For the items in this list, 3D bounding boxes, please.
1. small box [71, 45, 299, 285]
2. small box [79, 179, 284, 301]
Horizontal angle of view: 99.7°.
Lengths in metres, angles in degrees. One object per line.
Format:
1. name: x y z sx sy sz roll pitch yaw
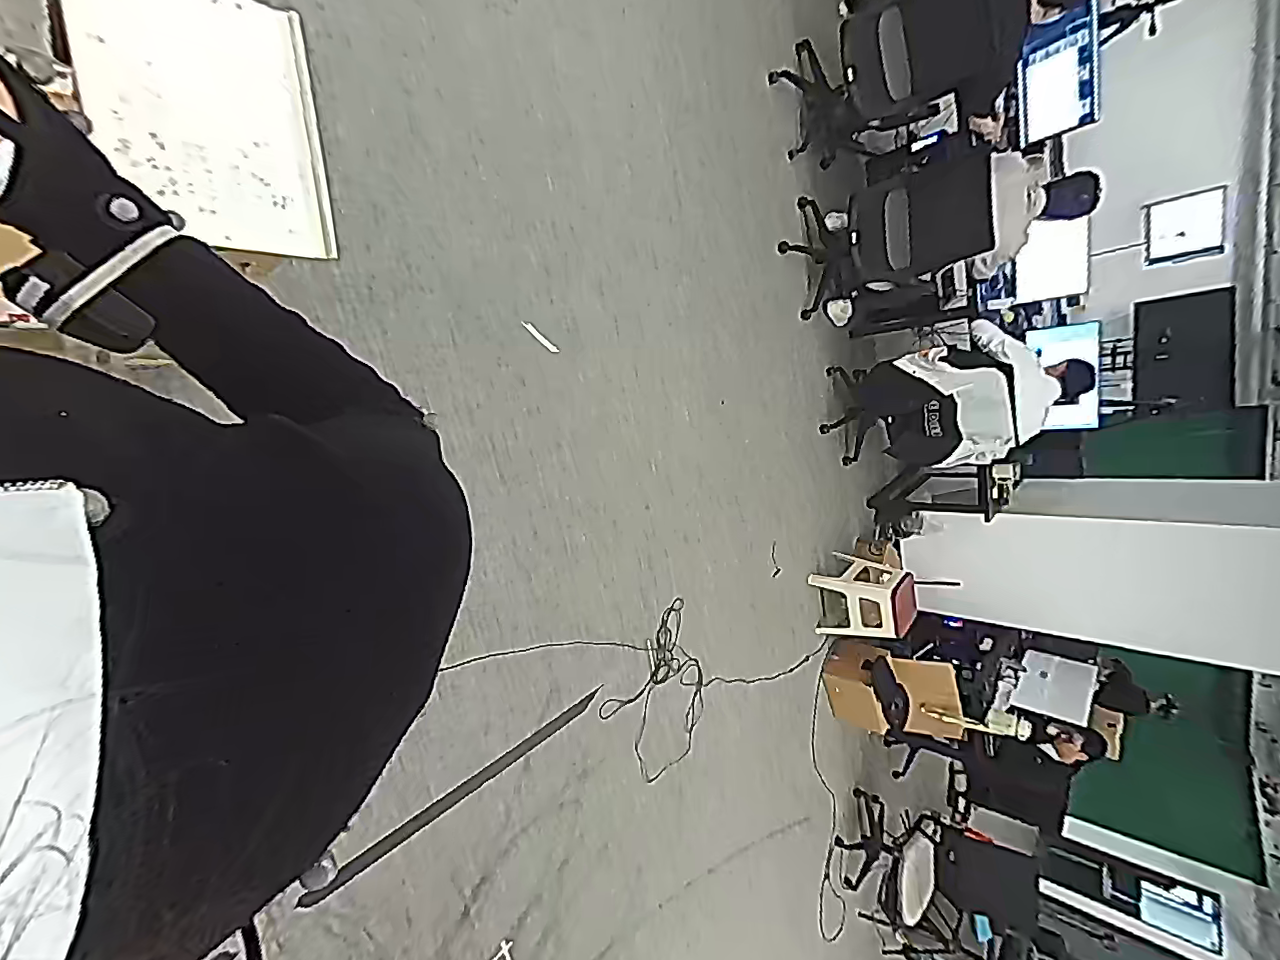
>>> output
1. small box: -0.532 -0.343 0.634 0.168 0.176 0.179 -14 102 -47
2. small box: -0.641 -0.353 0.759 0.179 0.176 0.168 -19 105 -45
